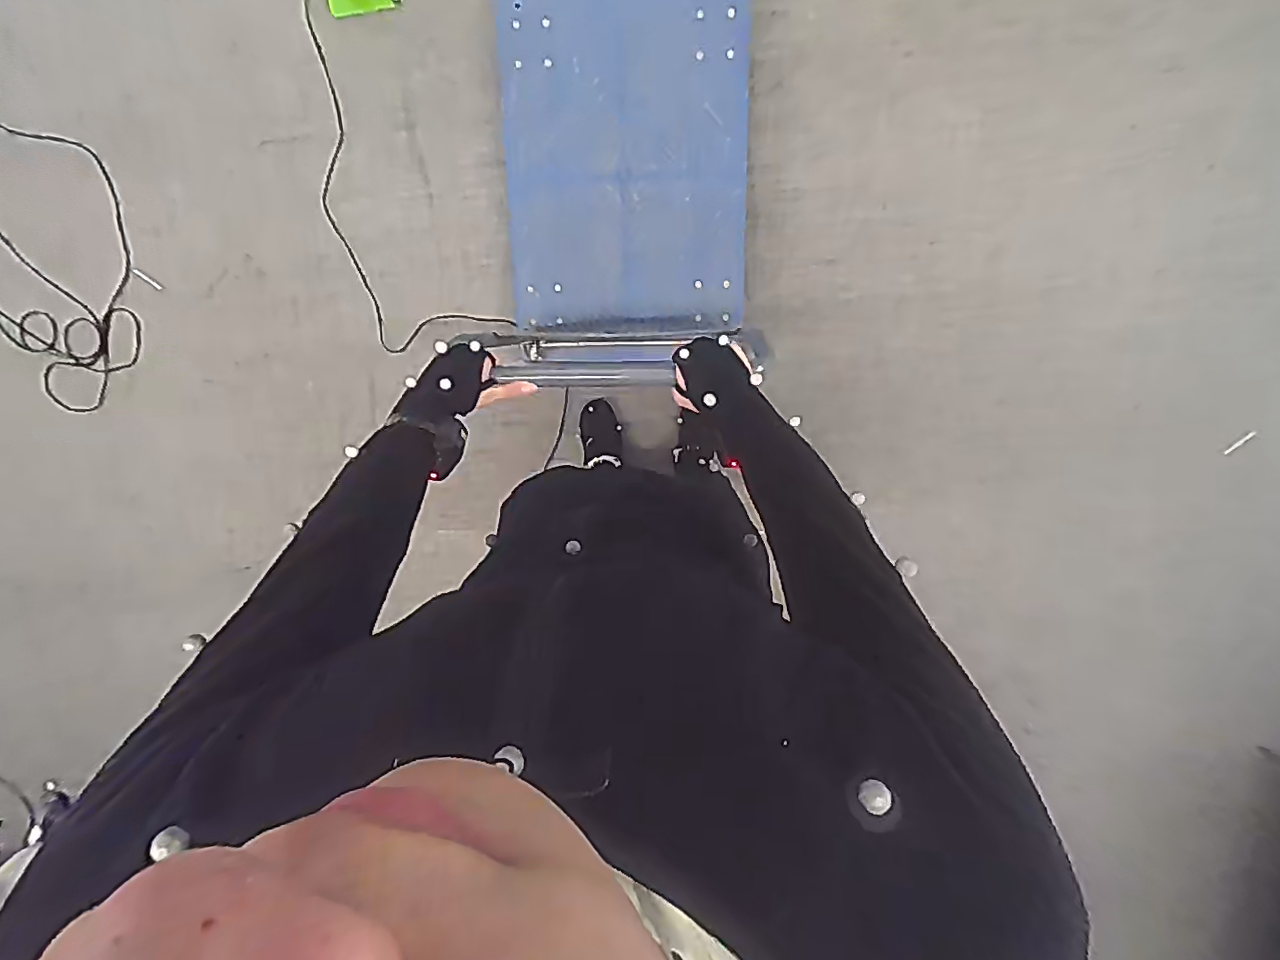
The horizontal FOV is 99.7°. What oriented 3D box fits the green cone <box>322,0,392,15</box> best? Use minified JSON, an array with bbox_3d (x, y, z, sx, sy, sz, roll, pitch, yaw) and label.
[{"bbox_3d":[-0.745,-1.272,1.203,0.202,0.368,0.200,-6,102,7],"label":"green cone"}]
